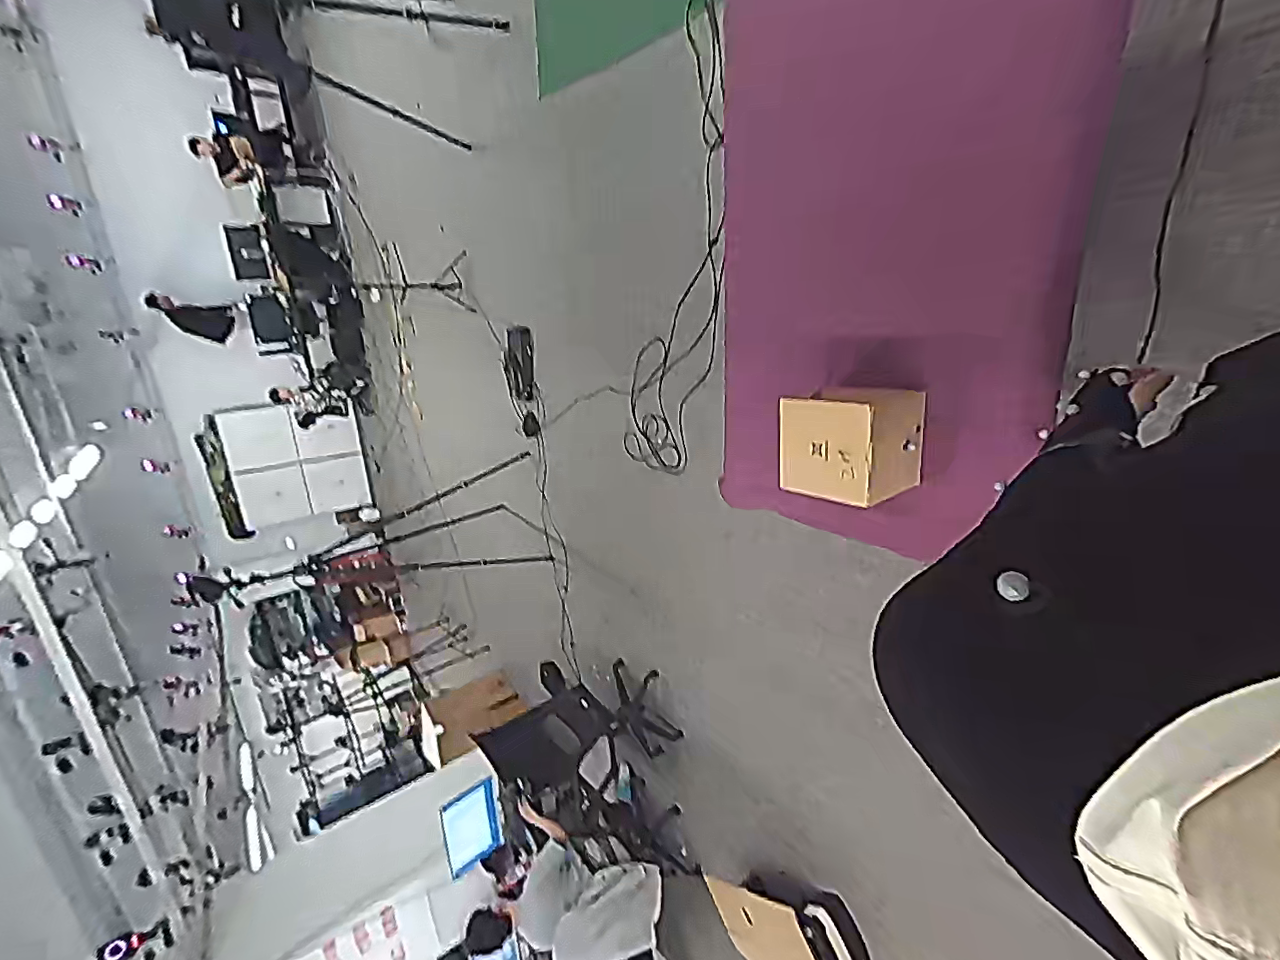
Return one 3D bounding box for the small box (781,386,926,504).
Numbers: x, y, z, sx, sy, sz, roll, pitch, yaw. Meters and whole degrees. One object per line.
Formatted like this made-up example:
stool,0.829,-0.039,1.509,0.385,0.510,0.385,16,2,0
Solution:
small box,0.369,-0.071,0.948,0.179,0.176,0.168,16,115,51
